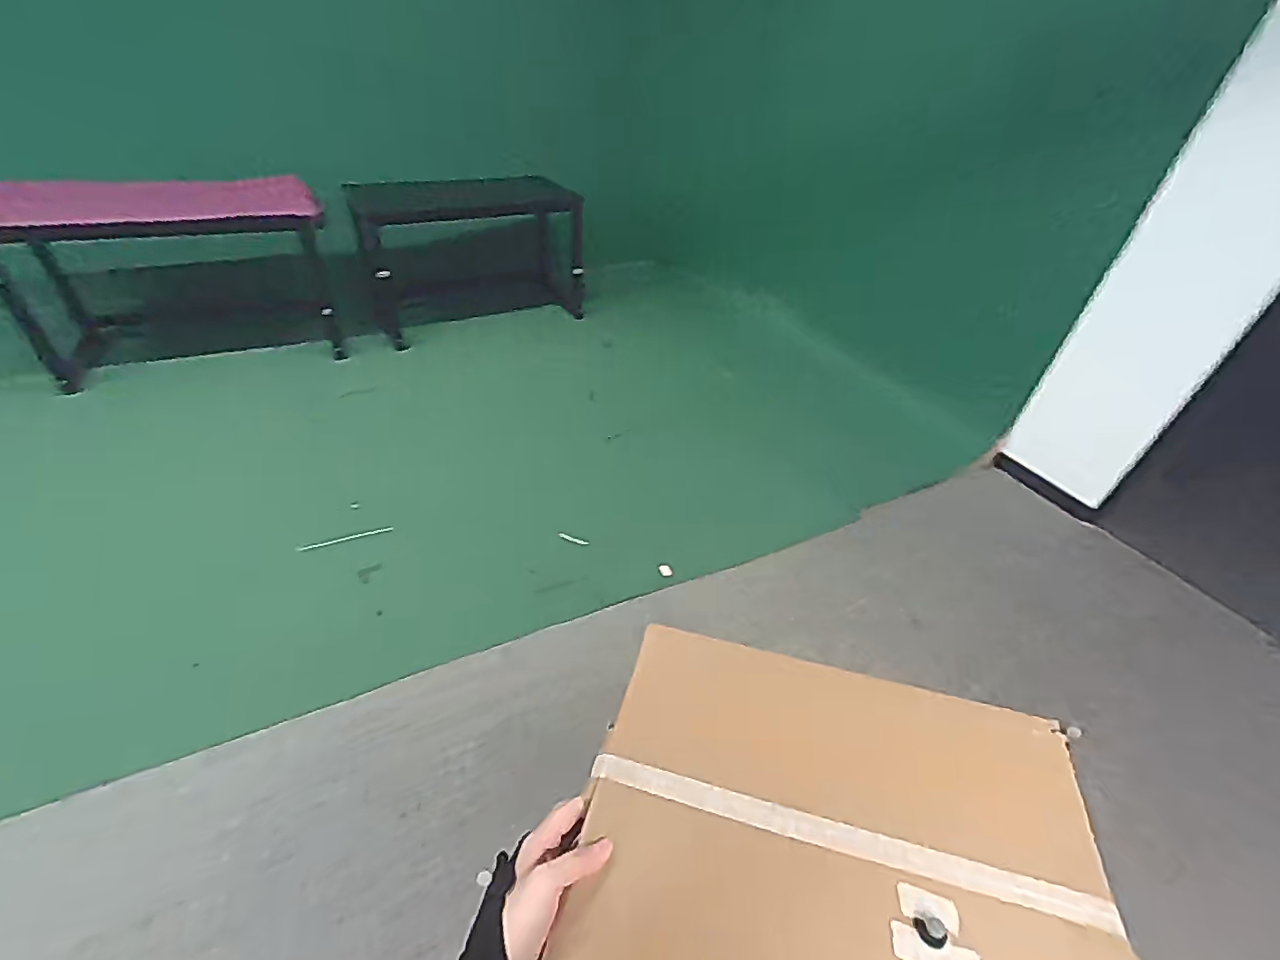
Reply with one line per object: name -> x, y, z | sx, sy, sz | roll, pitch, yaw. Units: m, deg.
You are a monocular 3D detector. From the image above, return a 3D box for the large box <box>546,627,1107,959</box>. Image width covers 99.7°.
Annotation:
large box -> 0.153, 0.403, 0.552 | 0.408, 0.320, 0.320 | 11, 43, 11
